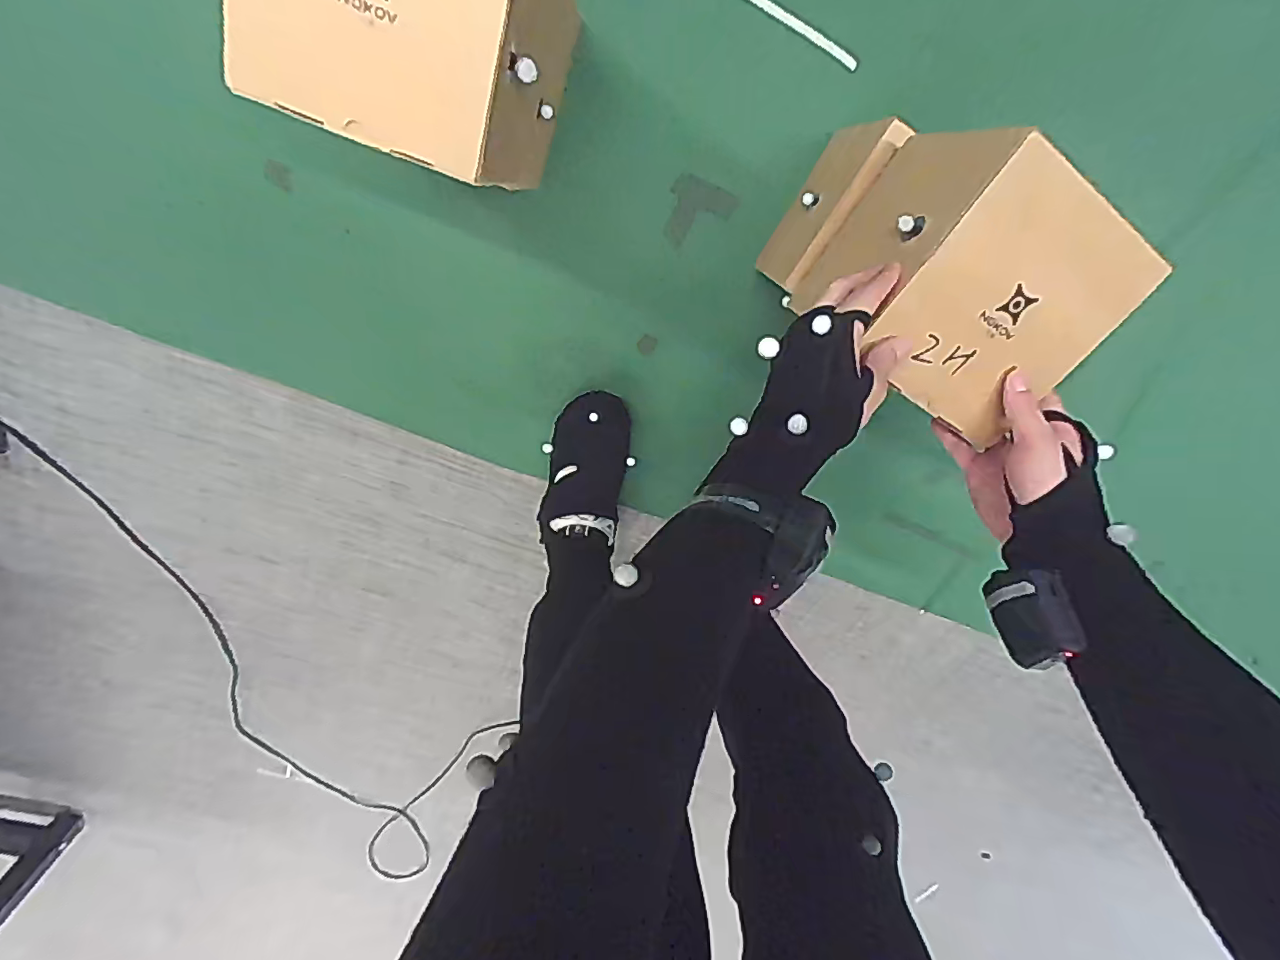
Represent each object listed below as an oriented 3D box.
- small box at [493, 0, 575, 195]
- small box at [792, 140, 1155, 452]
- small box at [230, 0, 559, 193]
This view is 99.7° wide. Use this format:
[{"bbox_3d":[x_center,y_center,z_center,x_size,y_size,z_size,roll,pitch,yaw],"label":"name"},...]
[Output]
[{"bbox_3d":[-0.170,-0.411,0.545,0.168,0.176,0.179,19,117,-10],"label":"small box"},{"bbox_3d":[0.264,-0.163,0.475,0.168,0.176,0.179,27,116,-18],"label":"small box"},{"bbox_3d":[-0.163,-0.338,0.401,0.168,0.176,0.179,17,118,-10],"label":"small box"}]
